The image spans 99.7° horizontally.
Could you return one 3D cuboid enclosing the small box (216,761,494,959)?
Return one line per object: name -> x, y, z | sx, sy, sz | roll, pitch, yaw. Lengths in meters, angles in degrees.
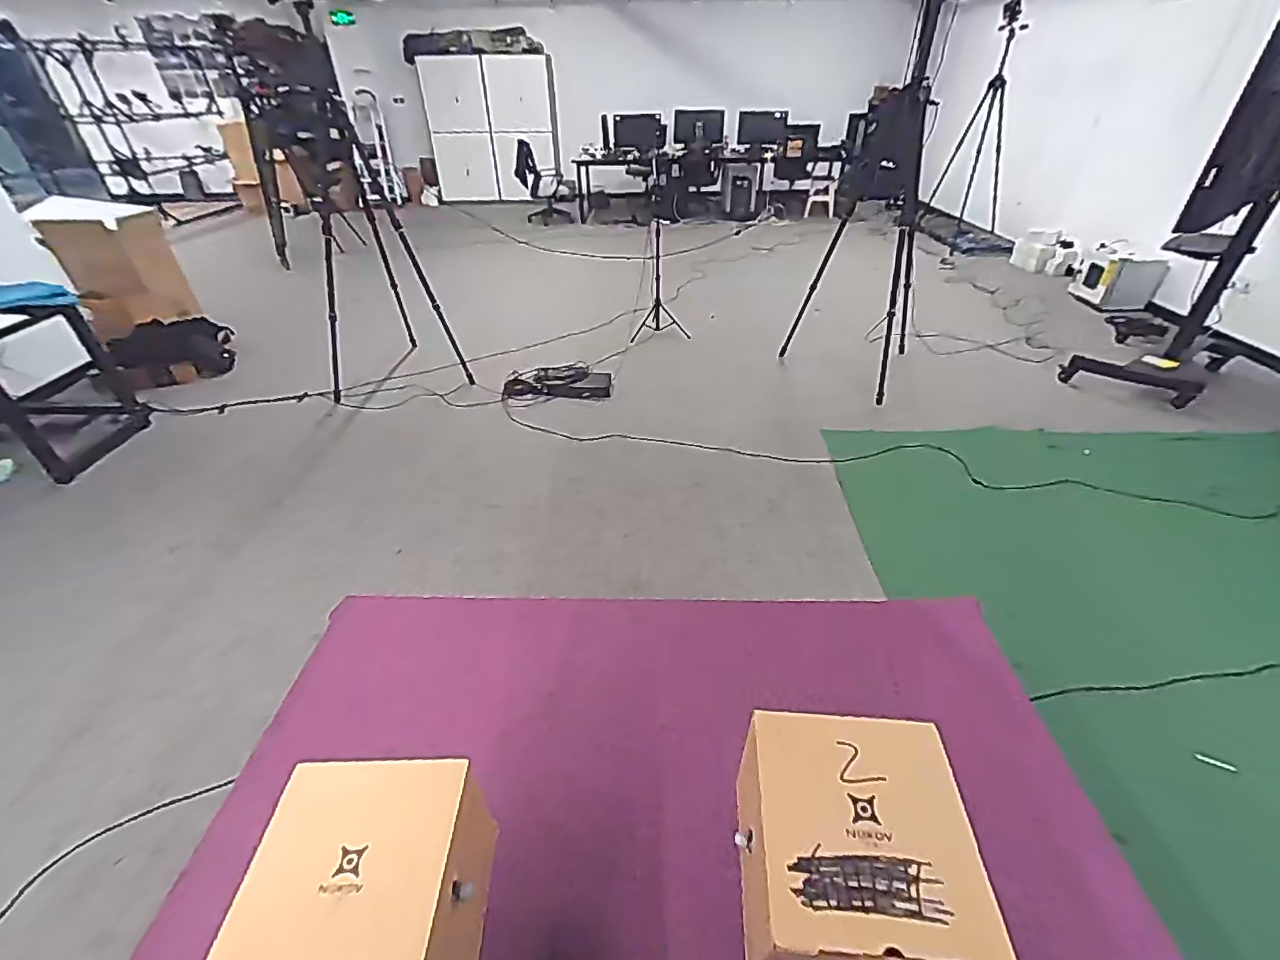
small box -> -0.244, 0.394, 0.512 | 0.168, 0.176, 0.179 | -1, 39, 0
